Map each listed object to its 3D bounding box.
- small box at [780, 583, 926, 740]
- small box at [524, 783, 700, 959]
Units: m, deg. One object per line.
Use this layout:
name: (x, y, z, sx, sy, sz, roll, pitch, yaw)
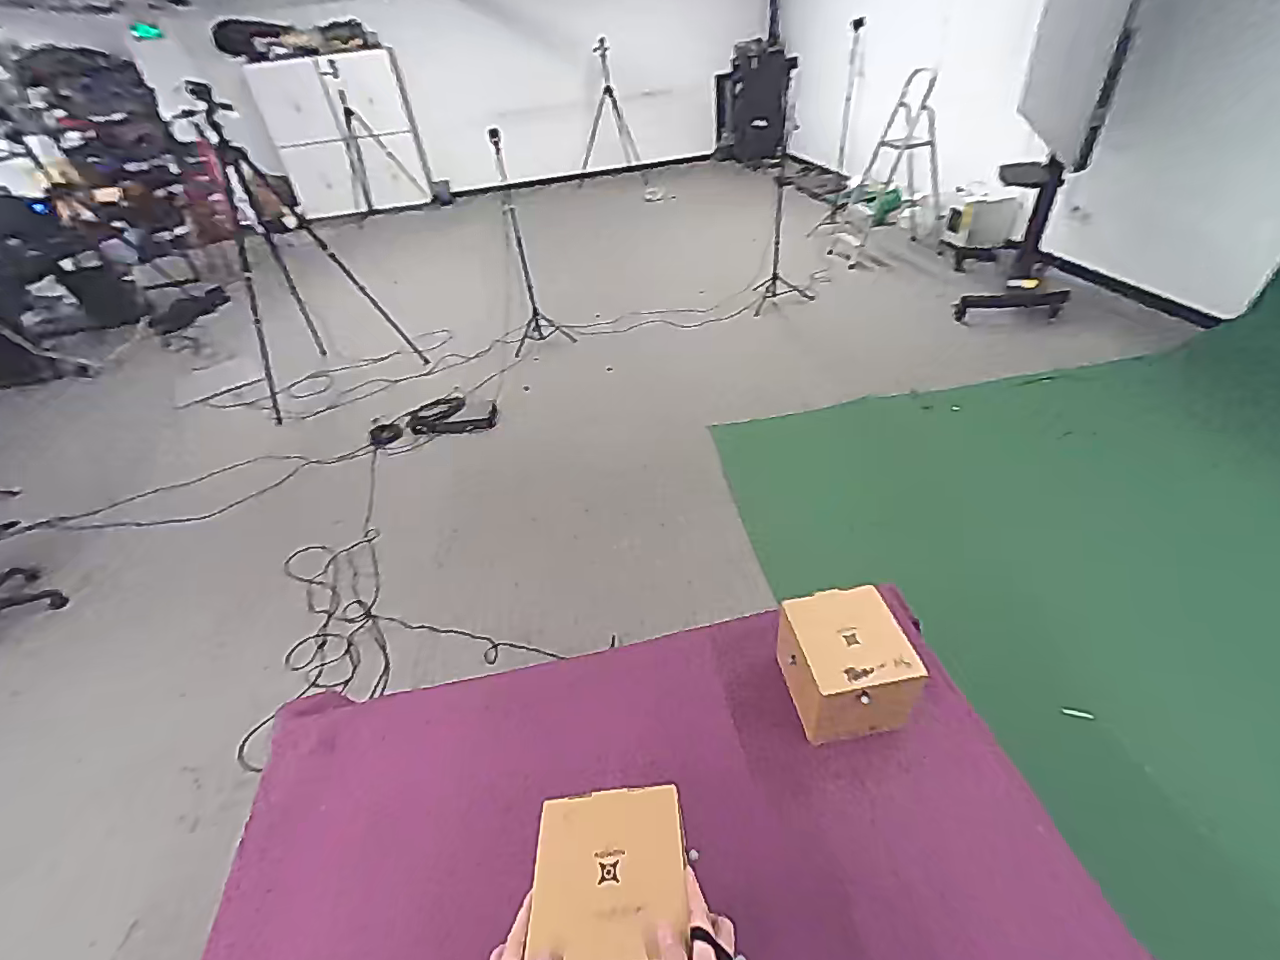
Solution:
small box: (0.343, 0.304, 0.912, 0.168, 0.176, 0.179, -10, 39, -2)
small box: (-0.022, 0.486, 0.619, 0.168, 0.176, 0.179, -7, 27, 2)
